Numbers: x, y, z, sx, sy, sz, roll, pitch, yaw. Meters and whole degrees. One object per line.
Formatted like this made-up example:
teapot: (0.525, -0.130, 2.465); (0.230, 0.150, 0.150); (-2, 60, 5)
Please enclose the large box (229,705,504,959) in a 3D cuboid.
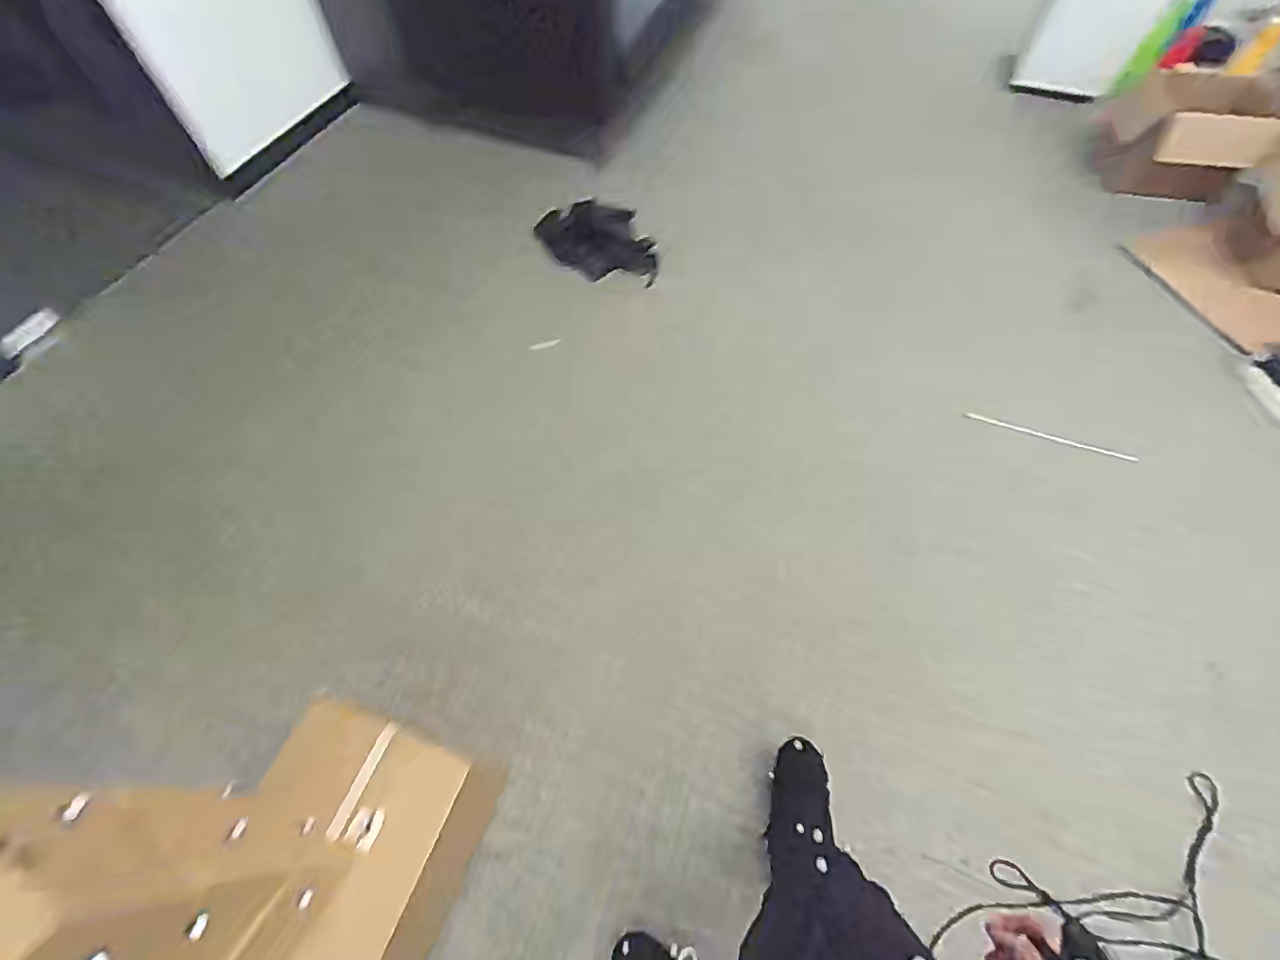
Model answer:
large box: (-0.490, 0.675, 0.948); (0.320, 0.320, 0.408); (18, 59, 9)
